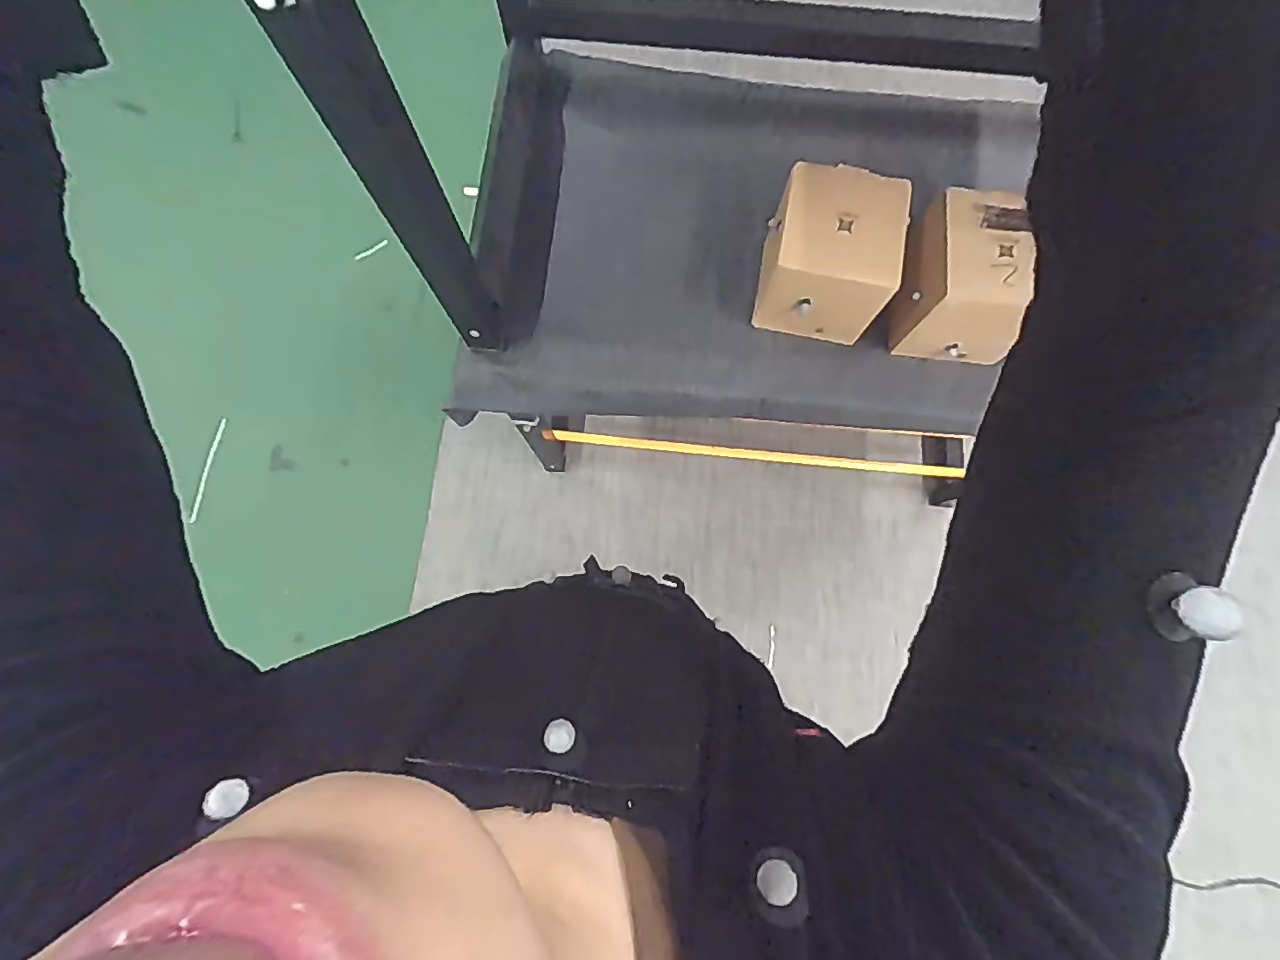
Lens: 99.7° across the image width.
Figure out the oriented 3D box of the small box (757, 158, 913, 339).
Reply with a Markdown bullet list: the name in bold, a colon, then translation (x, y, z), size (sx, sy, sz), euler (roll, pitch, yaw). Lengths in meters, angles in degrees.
- **small box**: translation (0.282, -0.336, 0.815), size (0.168, 0.176, 0.179), euler (12, 77, 2)
